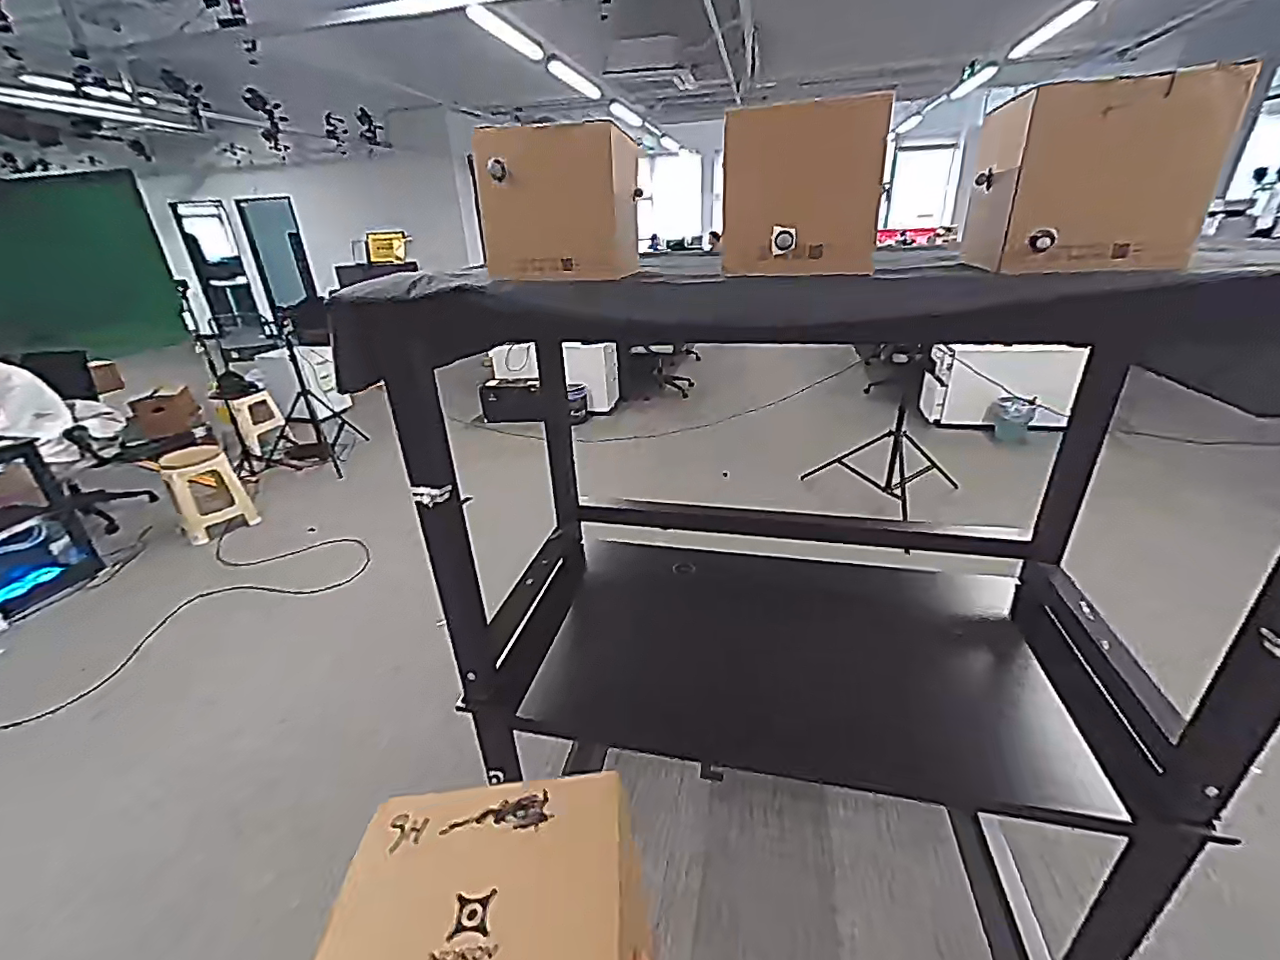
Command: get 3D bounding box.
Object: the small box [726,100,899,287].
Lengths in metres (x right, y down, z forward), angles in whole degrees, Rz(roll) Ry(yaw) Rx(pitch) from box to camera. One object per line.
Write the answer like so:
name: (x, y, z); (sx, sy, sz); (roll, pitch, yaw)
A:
small box: (0.195, -0.324, 0.639); (0.168, 0.176, 0.179); (4, 25, 15)

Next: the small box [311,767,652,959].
small box: (-0.079, 0.310, 0.317); (0.168, 0.176, 0.179); (-7, 25, 1)

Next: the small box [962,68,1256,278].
small box: (0.472, -0.312, 0.583); (0.168, 0.176, 0.179); (4, 25, 14)
